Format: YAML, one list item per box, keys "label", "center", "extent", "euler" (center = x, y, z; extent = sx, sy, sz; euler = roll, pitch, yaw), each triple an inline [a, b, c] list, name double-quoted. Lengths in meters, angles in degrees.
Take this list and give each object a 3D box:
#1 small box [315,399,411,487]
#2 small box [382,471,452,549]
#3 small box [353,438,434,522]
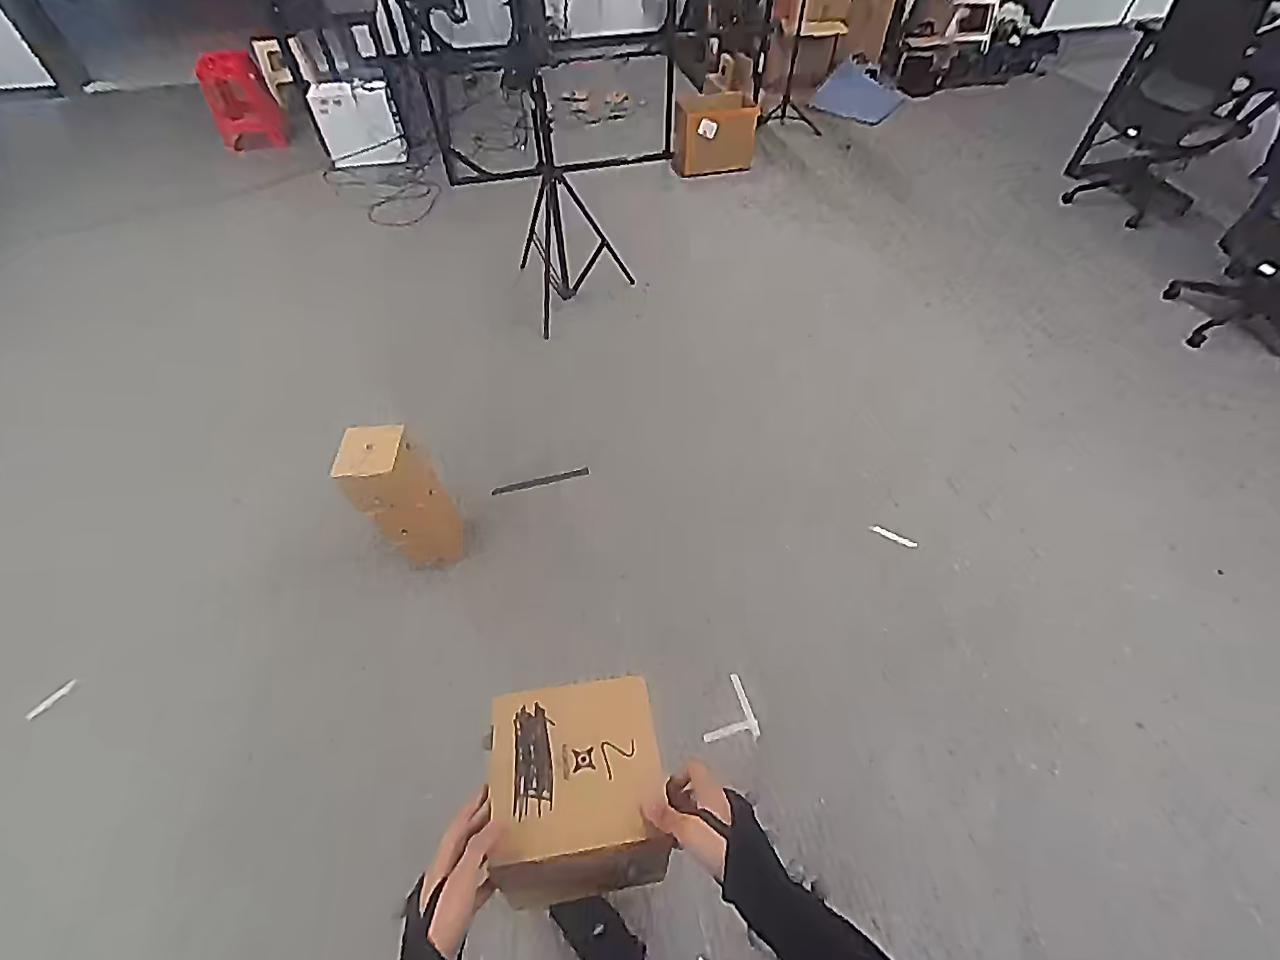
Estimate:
- label: "small box"
  center: [-0.747, -0.100, 1.482]
  extent: [0.168, 0.176, 0.179]
  euler: [-4, 54, -1]
- label: "small box"
  center: [-0.713, 0.098, 1.740]
  extent: [0.168, 0.176, 0.179]
  euler: [-10, 54, -6]
- label: "small box"
  center: [-0.726, 0.002, 1.612]
  extent: [0.168, 0.176, 0.179]
  euler: [-8, 55, -4]
